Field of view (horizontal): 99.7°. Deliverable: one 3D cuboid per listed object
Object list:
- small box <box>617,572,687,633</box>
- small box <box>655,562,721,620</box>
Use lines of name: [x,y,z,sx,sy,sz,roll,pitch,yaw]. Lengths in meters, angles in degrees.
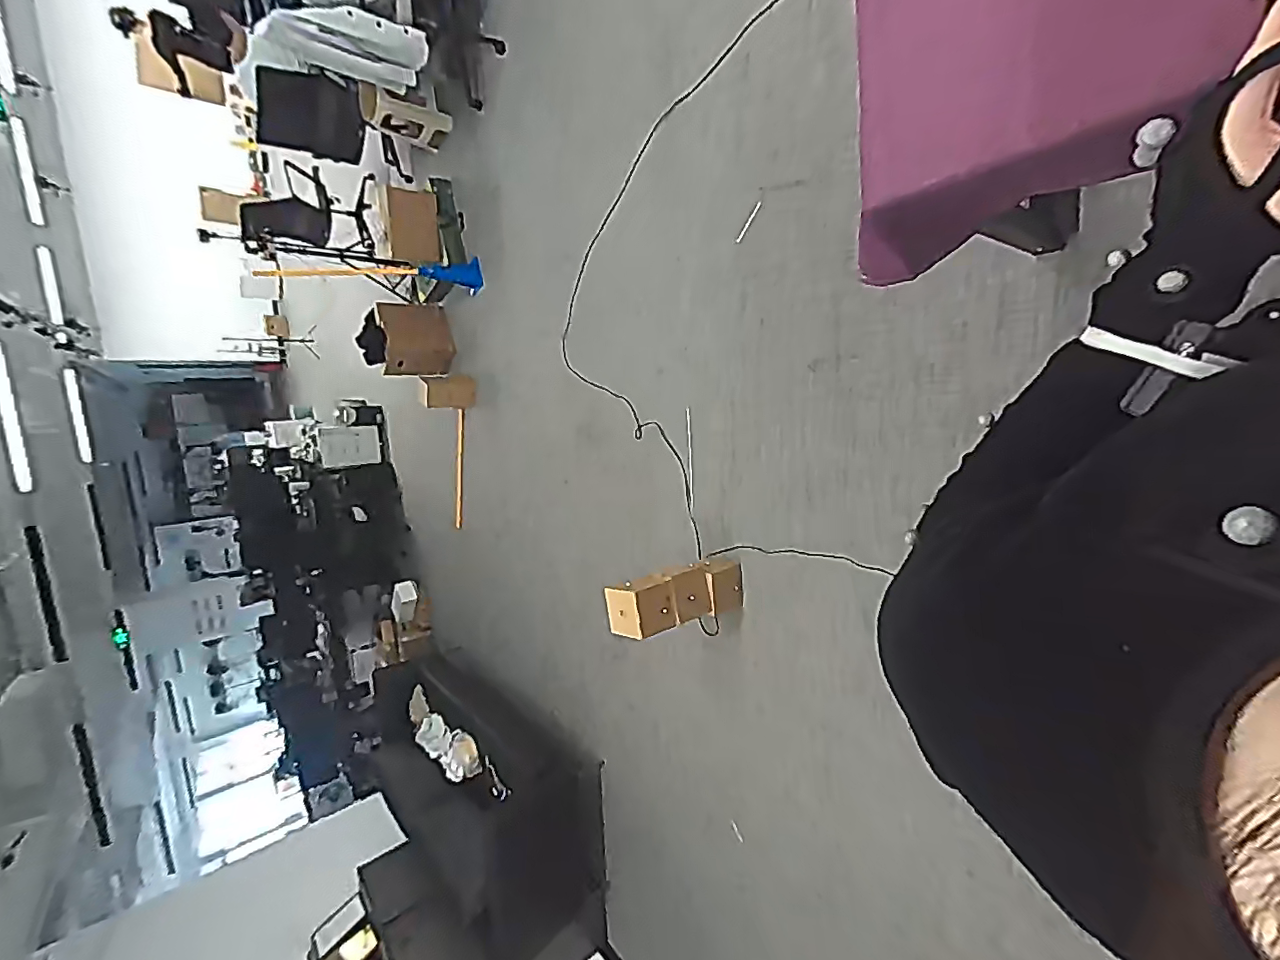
small box: [0.042,0.430,1.927,0.179,0.176,0.168,-7,93,52]
small box: [0.178,0.407,2.014,0.168,0.176,0.179,-12,89,53]
